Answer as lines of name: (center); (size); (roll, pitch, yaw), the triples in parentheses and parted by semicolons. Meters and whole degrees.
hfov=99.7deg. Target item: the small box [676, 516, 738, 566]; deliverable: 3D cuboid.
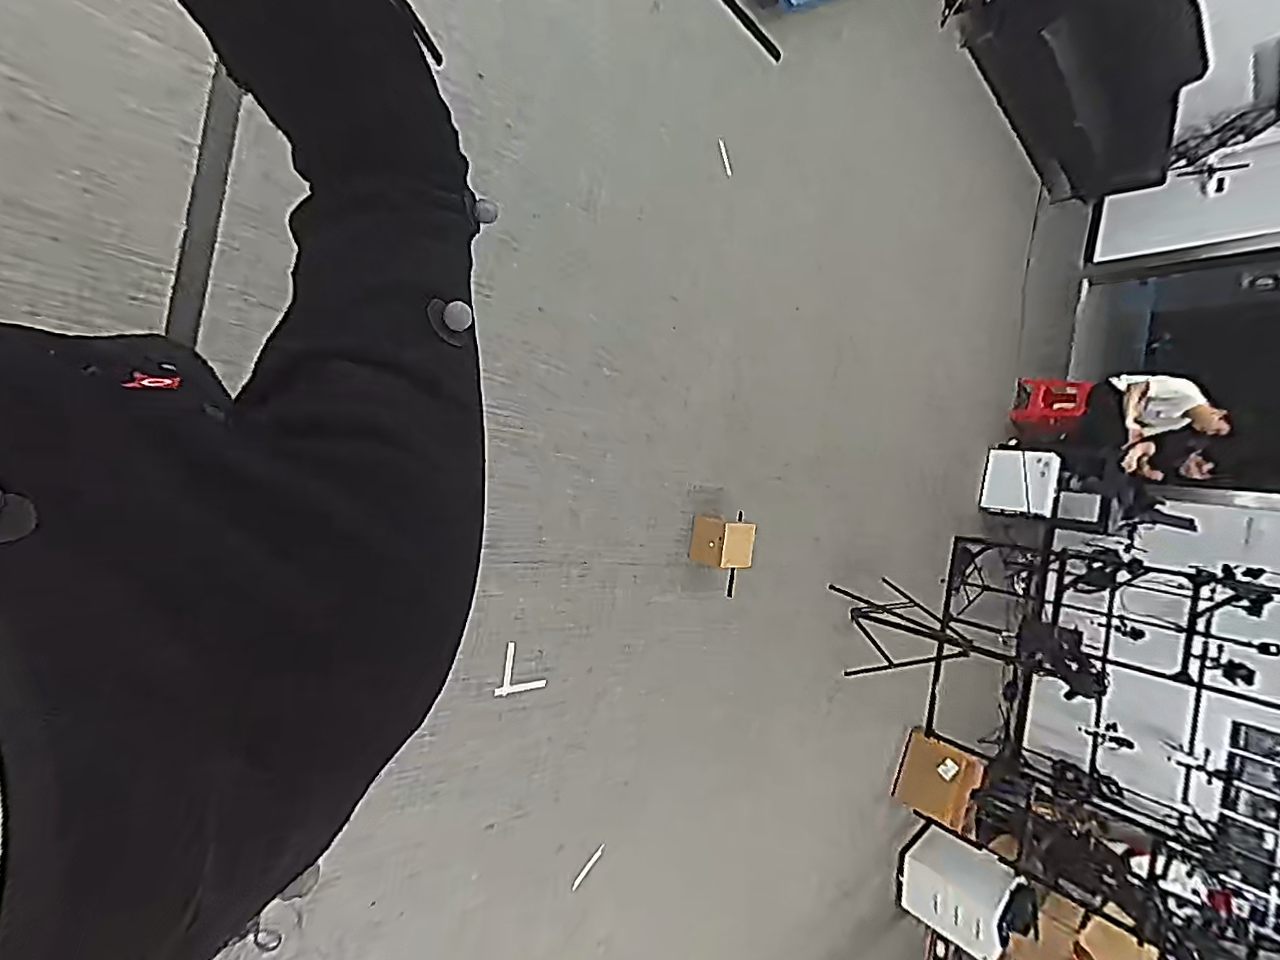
small box: (0.265, 0.235, 2.082); (0.179, 0.176, 0.168); (7, 91, -42)
